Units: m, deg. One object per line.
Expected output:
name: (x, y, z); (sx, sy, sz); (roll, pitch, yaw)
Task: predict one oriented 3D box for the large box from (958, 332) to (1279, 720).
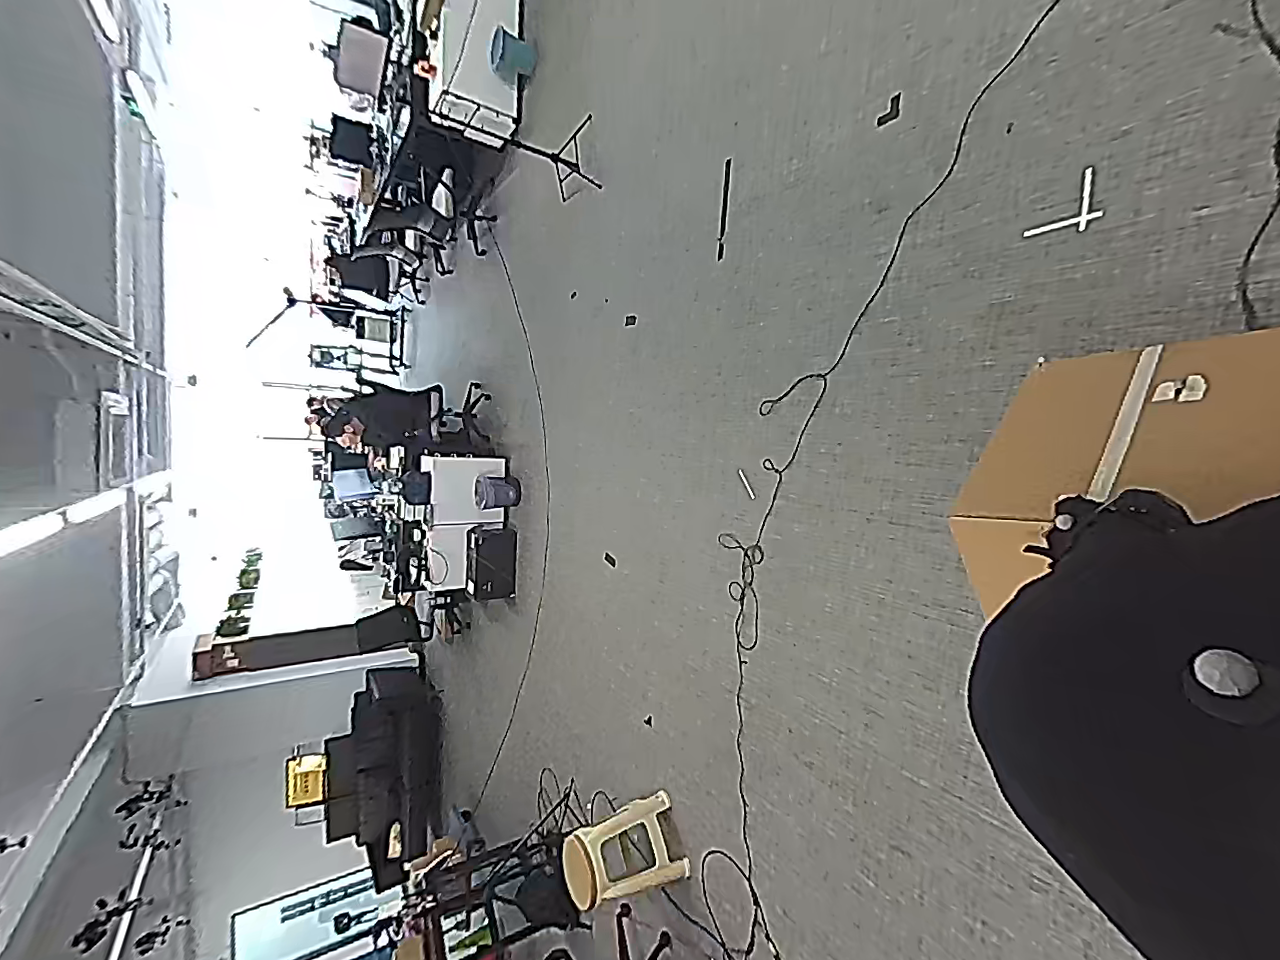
large box: (0.721, 0.047, 0.766); (0.320, 0.408, 0.320); (1, 129, 53)
